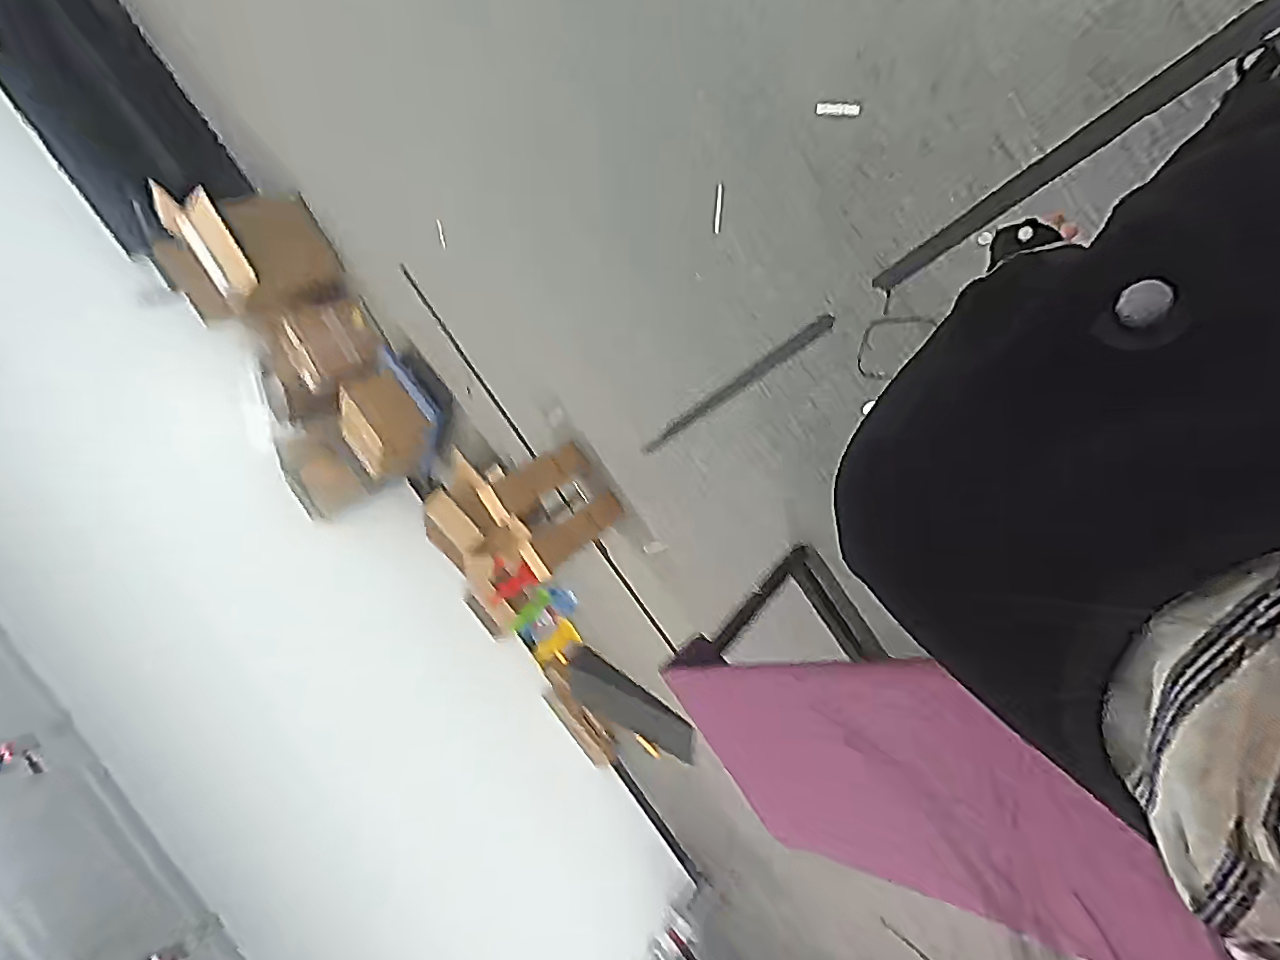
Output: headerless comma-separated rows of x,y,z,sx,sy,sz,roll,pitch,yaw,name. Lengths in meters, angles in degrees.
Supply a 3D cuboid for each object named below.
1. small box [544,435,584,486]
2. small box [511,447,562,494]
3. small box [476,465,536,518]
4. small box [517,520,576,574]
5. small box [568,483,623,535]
-0.399,-0.100,2.669,0.168,0.176,0.179,56,145,-1,small box
-0.501,-0.031,2.559,0.179,0.176,0.168,57,144,-3,small box
-0.607,0.046,2.460,0.168,0.176,0.179,-23,99,53,small box
-0.427,0.302,2.470,0.179,0.176,0.168,54,147,-1,small box
-0.215,0.142,2.662,0.179,0.176,0.168,56,145,-2,small box
